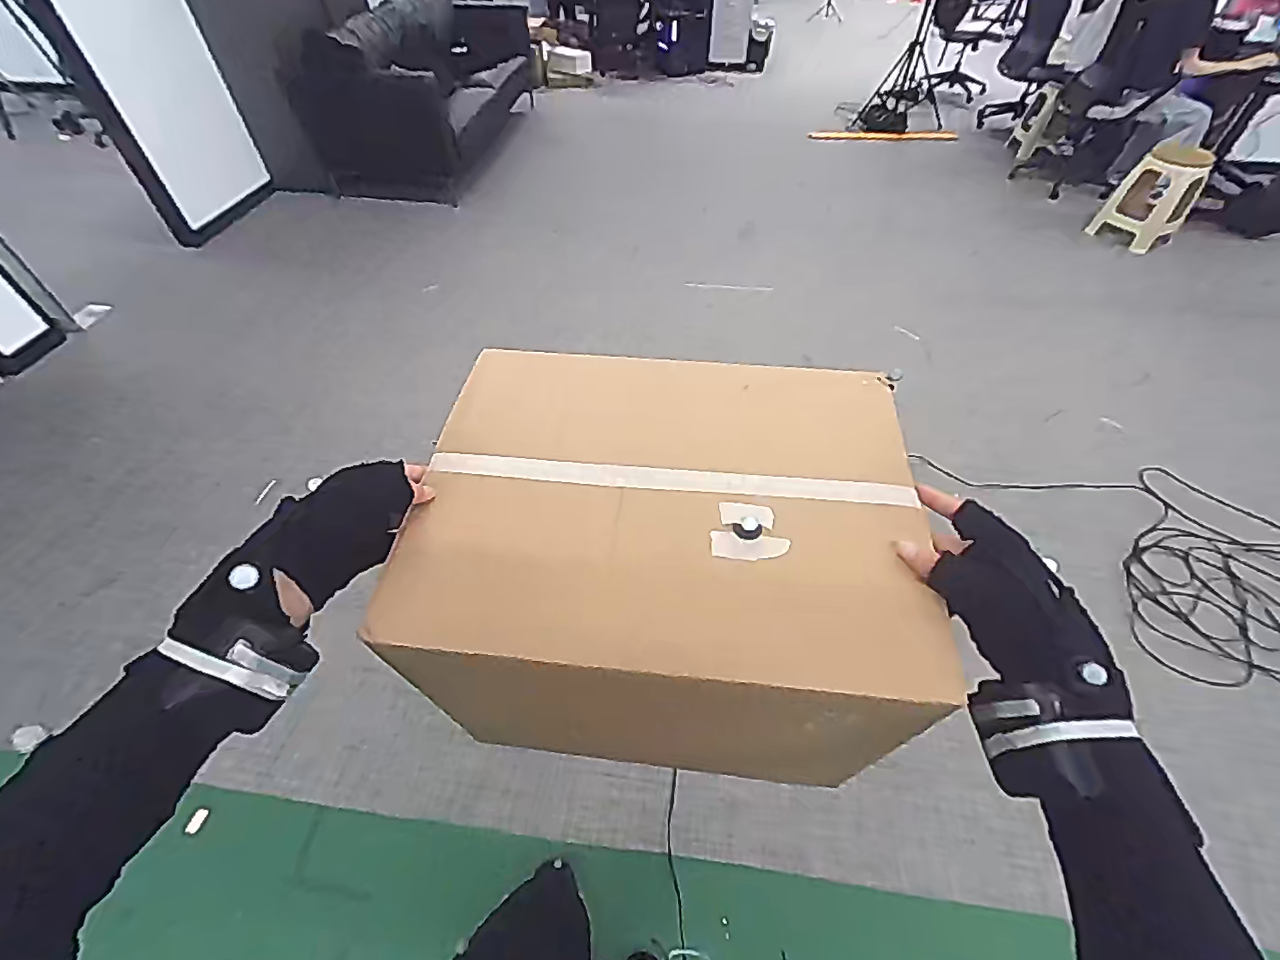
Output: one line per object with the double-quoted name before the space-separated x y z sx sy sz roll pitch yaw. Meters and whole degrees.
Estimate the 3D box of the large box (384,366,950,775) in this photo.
"large box" 0.027 0.101 0.580 0.408 0.320 0.320 4 53 5
